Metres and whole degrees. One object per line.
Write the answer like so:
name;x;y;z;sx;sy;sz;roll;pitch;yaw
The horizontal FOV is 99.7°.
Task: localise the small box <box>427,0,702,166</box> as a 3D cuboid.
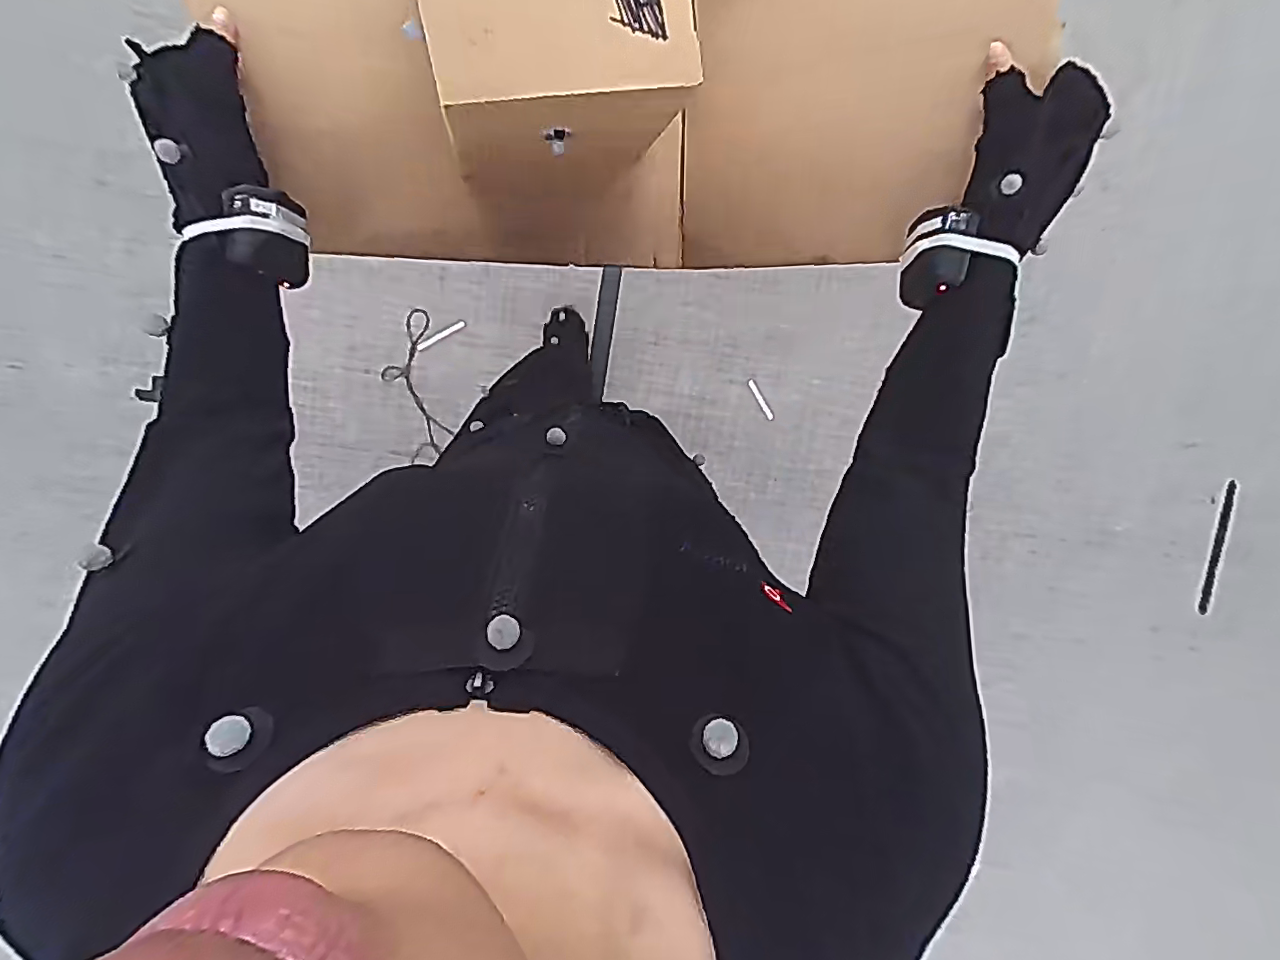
small box;-0.069;-0.357;0.413;0.179;0.176;0.168;-12;108;-10
